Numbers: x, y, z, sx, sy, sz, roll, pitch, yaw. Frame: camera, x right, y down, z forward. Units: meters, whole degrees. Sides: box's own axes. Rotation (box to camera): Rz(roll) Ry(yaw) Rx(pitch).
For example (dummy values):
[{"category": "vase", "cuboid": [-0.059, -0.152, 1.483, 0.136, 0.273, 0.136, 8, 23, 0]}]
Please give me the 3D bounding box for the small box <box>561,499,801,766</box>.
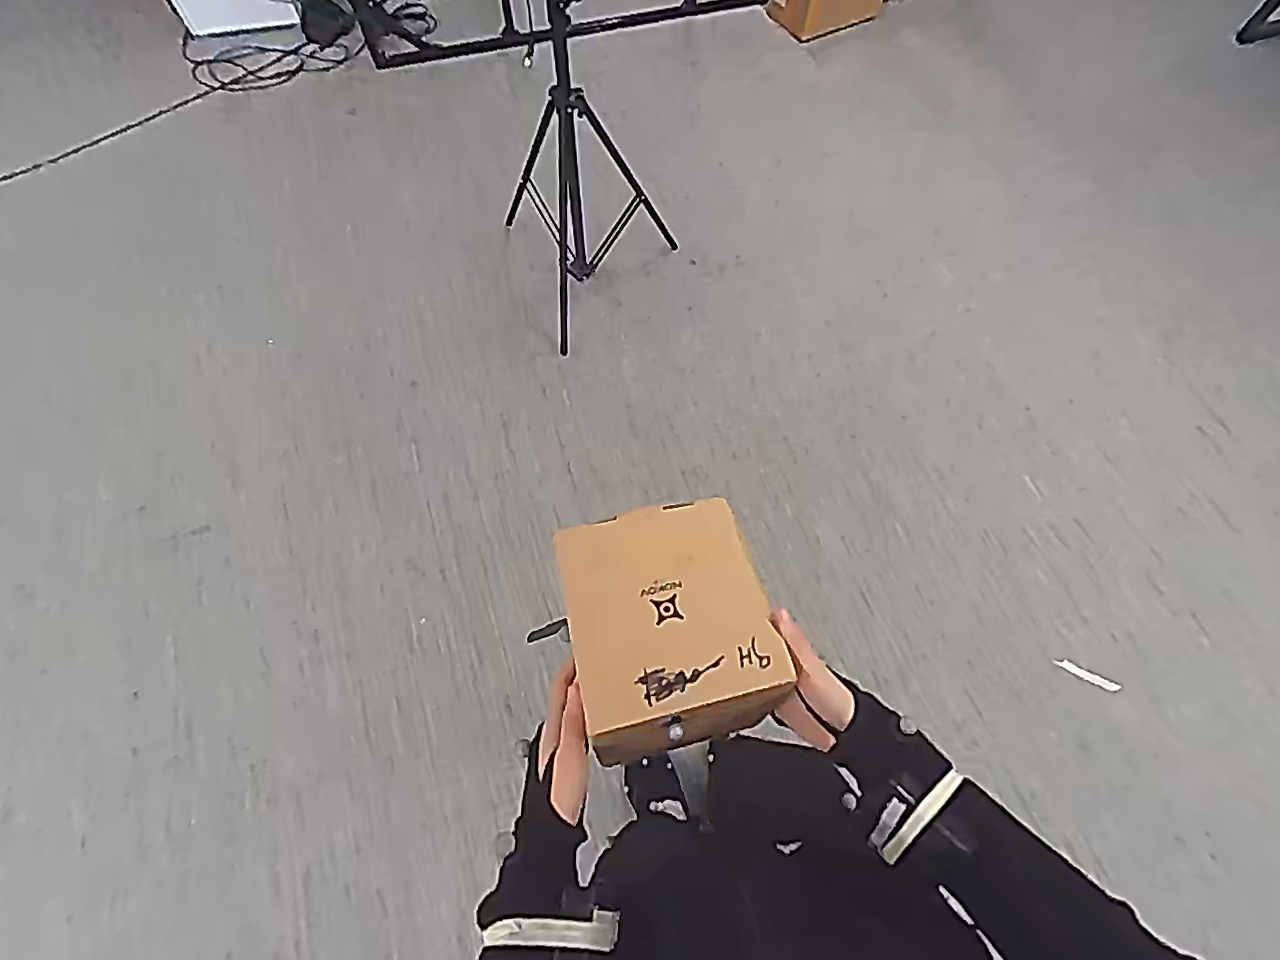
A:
[{"category": "small box", "cuboid": [0.025, 0.147, 0.512, 0.168, 0.176, 0.179, -12, 55, -8]}]
